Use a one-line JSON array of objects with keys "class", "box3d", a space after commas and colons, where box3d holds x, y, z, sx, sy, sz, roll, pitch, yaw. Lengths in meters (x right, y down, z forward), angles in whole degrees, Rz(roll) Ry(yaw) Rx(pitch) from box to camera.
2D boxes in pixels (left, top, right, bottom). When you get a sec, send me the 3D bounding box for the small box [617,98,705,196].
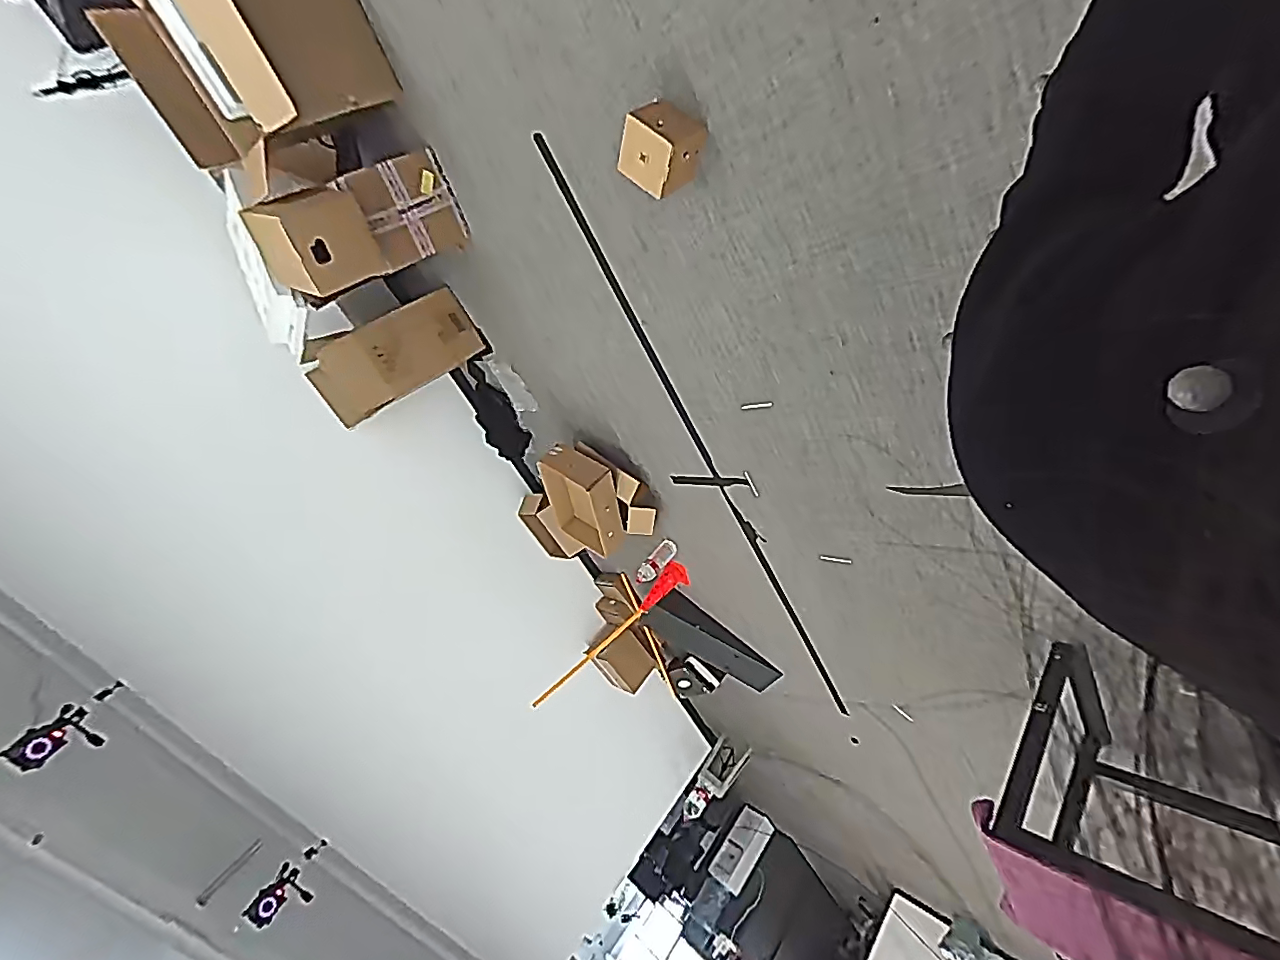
[{"class": "small box", "box3d": [0.062, -0.979, 1.583, 0.179, 0.176, 0.168, 41, 150, 11]}]
